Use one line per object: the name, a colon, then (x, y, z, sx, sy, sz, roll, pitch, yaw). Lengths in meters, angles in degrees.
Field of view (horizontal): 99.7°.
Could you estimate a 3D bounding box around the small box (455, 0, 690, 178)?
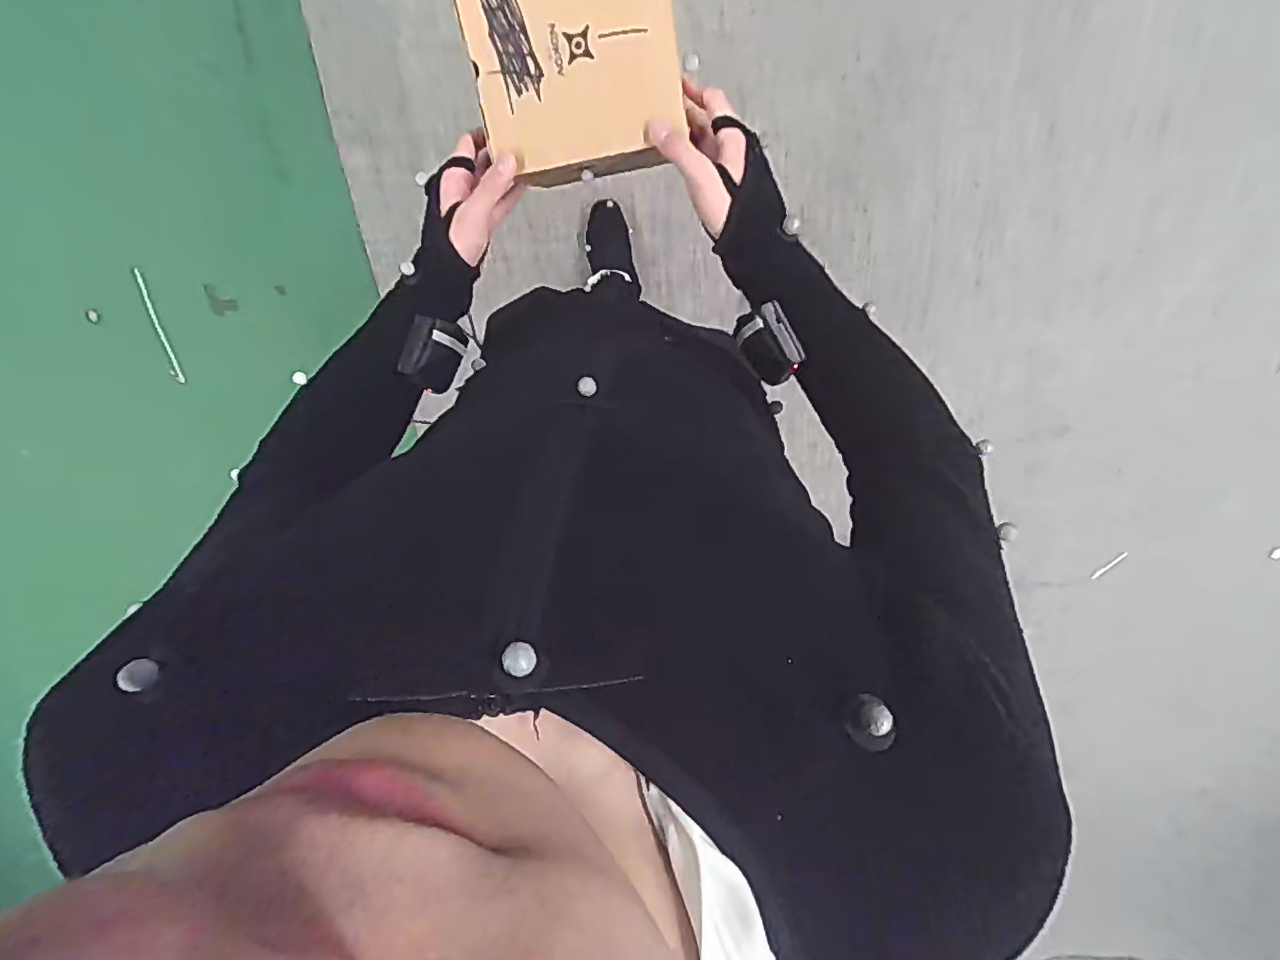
small box: (-0.050, -0.397, 0.512, 0.179, 0.176, 0.168, -6, 115, 10)
